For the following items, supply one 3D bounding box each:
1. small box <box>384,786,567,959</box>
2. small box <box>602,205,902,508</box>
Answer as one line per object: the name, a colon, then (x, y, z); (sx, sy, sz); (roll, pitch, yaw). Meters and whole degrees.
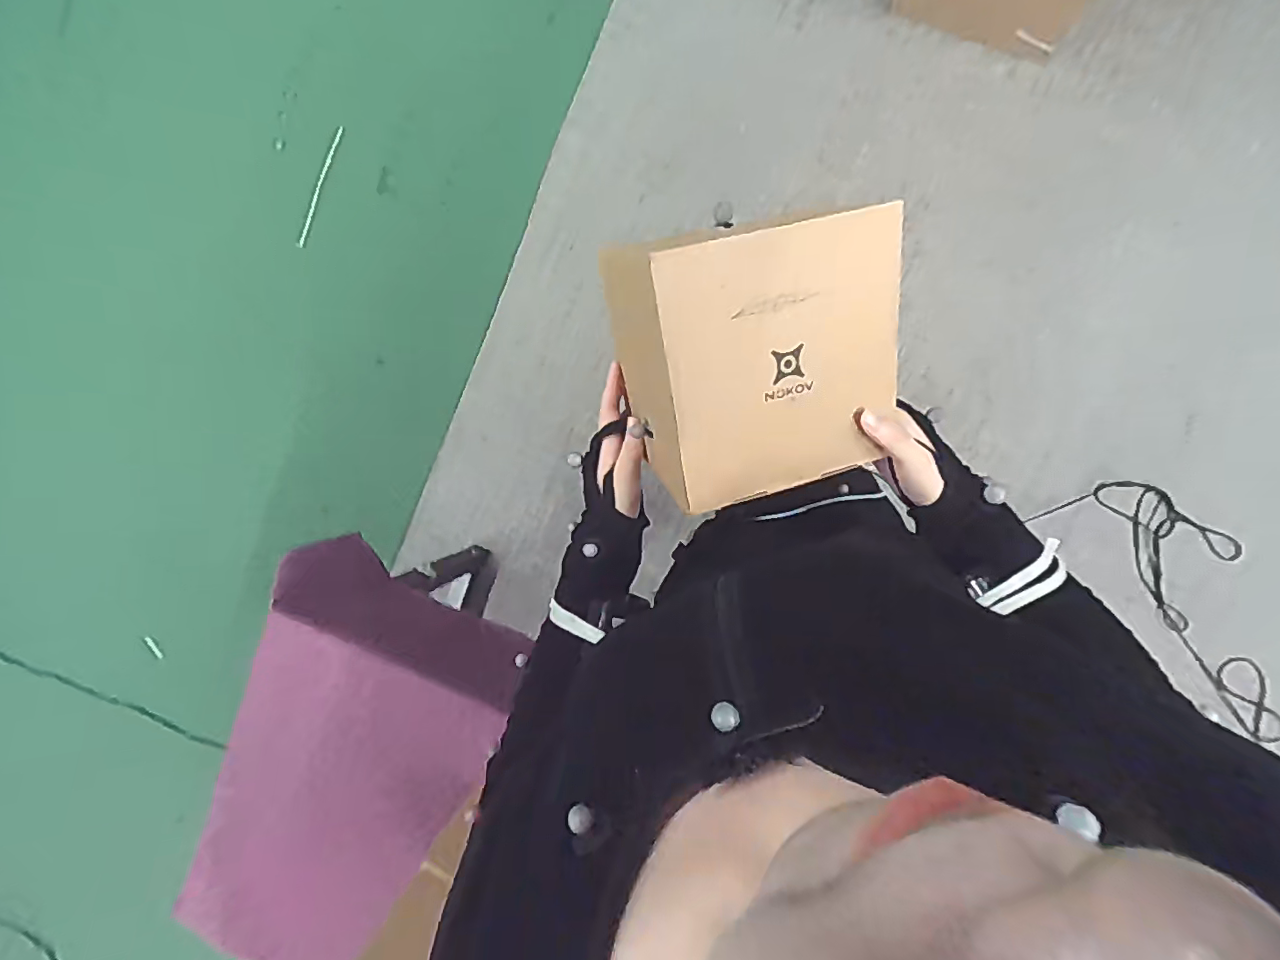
small box: (-0.221, 0.589, 0.767); (0.168, 0.176, 0.179); (23, 97, 6)
small box: (0.076, -0.106, 0.427); (0.168, 0.176, 0.179); (-15, 116, -9)
